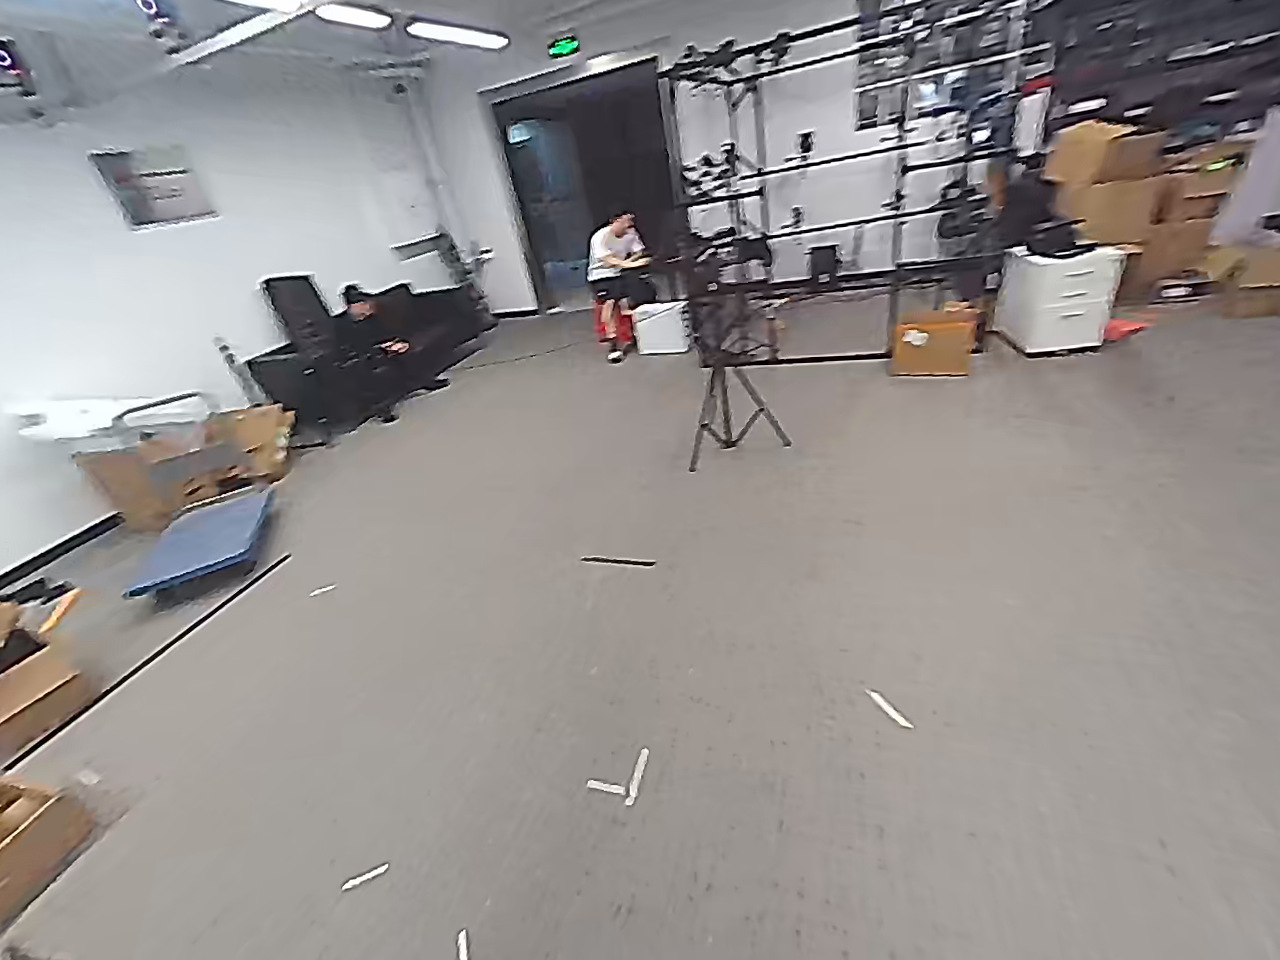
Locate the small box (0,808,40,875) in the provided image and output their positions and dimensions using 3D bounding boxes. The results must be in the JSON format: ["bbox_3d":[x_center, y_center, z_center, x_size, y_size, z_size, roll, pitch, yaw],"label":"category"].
[{"bbox_3d":[-2.056,1.133,1.676,0.179,0.176,0.168,-1,32,19],"label":"small box"}]
